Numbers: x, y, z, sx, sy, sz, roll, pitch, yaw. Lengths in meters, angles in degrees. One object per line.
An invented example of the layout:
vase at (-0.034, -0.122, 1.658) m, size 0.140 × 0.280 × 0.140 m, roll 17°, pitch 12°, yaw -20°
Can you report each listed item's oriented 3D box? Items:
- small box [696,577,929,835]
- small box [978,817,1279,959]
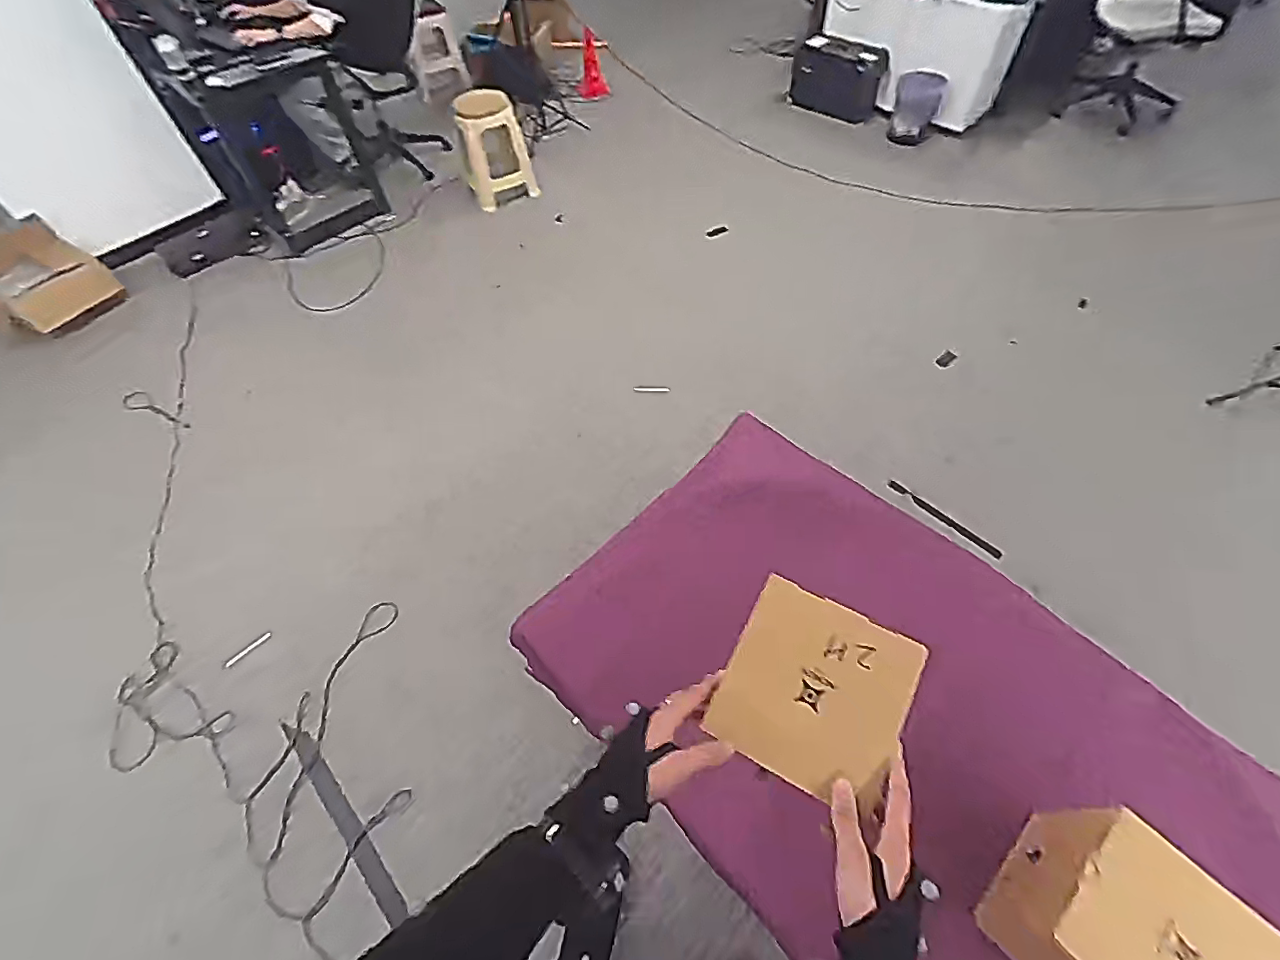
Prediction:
small box at (0.176, 0.236, 0.587) m, size 0.168 × 0.176 × 0.179 m, roll 26°, pitch 73°, yaw 18°
small box at (0.518, 0.499, 0.582) m, size 0.168 × 0.176 × 0.179 m, roll -38°, pitch 61°, yaw -20°
